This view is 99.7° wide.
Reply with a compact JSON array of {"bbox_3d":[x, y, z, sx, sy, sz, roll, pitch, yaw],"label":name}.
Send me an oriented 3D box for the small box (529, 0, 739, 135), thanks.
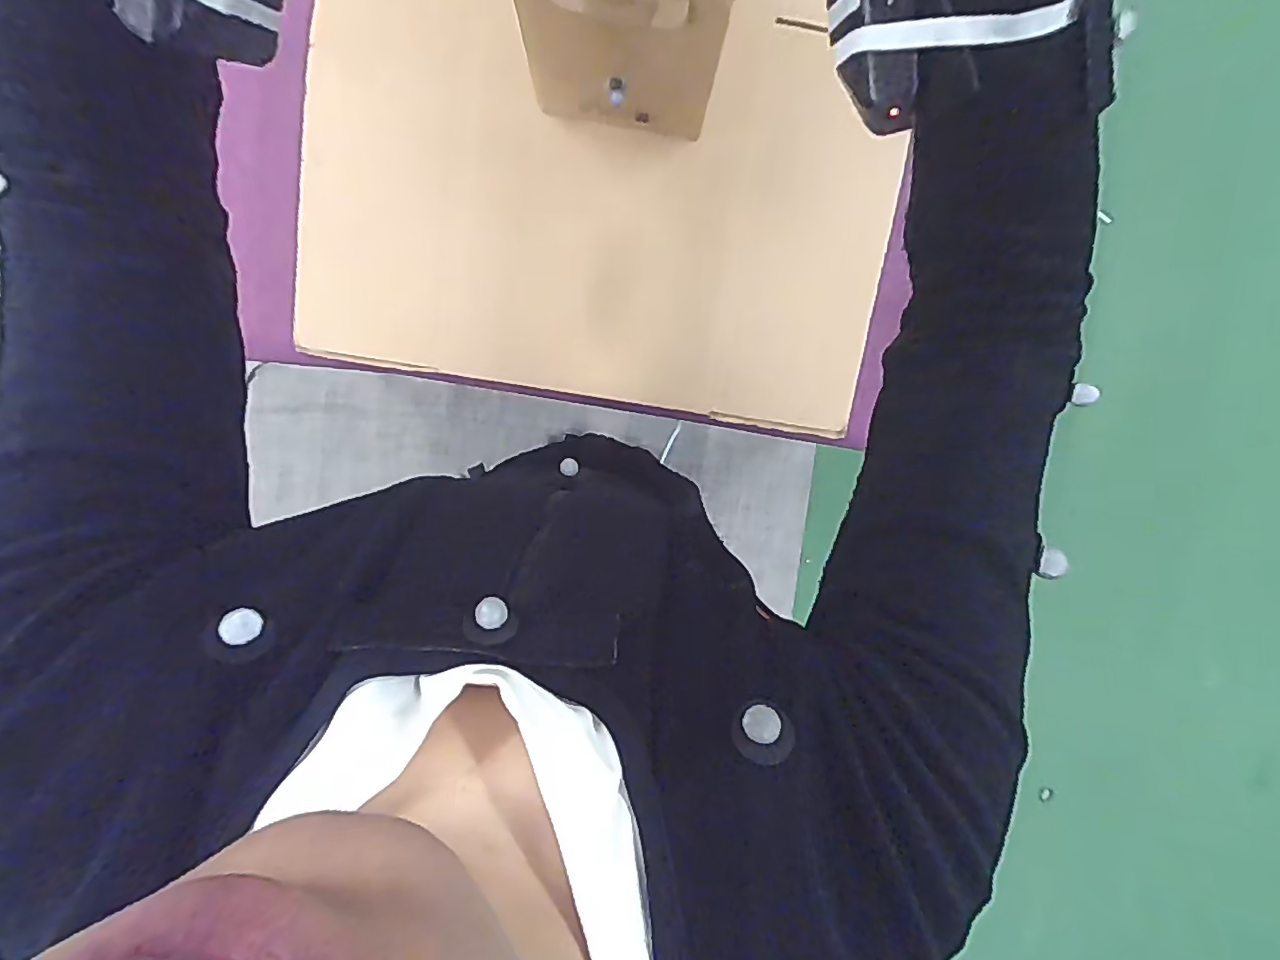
[{"bbox_3d":[0.000,-0.440,0.456,0.168,0.176,0.179,9,93,-3],"label":"small box"}]
